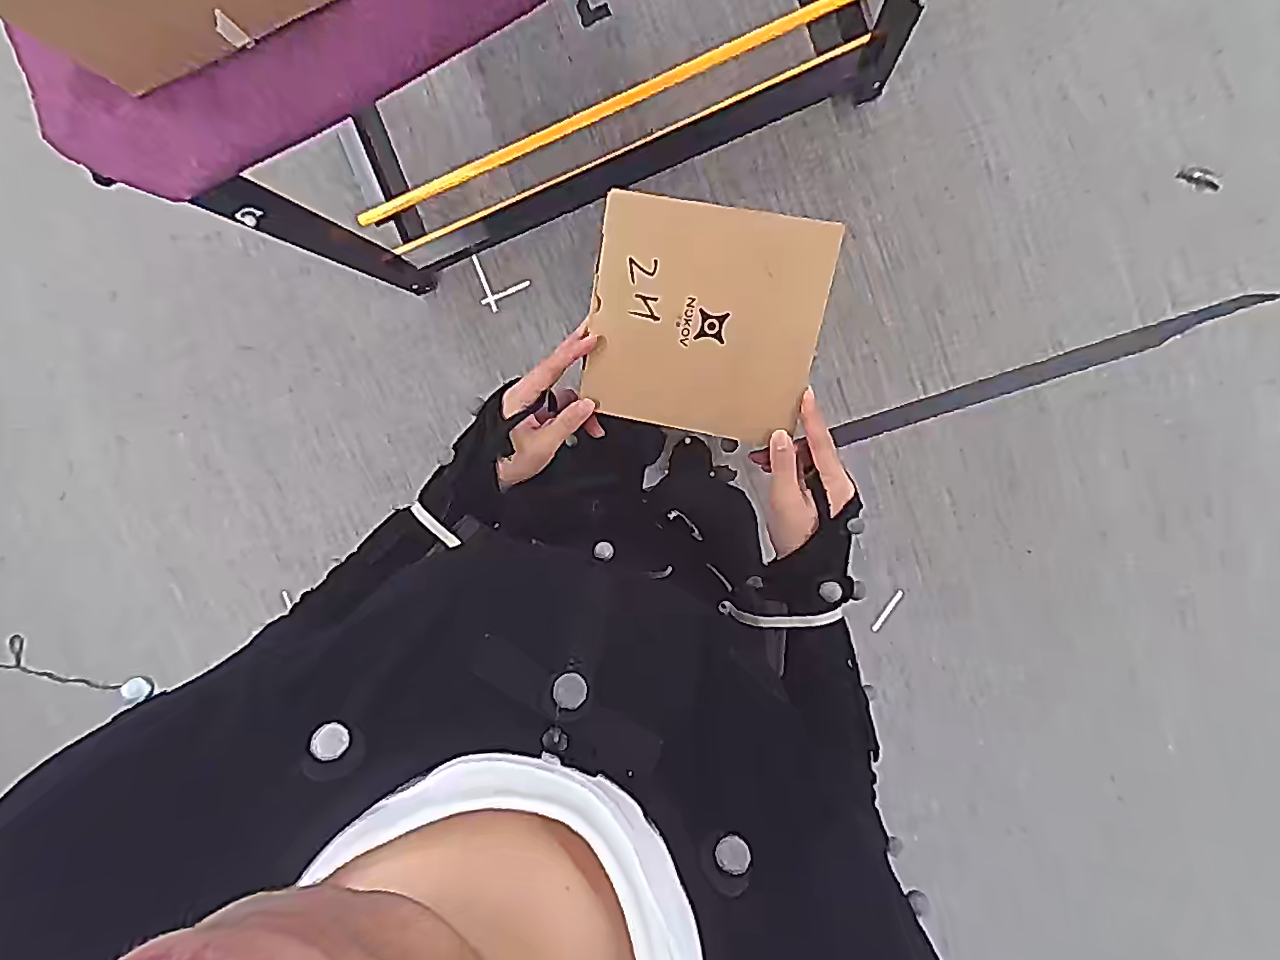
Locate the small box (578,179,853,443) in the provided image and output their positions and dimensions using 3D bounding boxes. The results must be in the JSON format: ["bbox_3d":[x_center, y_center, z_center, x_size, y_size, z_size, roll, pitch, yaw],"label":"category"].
[{"bbox_3d":[0.062,-0.140,0.477,0.179,0.176,0.168,12,104,7],"label":"small box"}]

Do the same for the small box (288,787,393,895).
[{"bbox_3d":[-0.814,0.987,1.489,0.168,0.176,0.179,-13,95,8],"label":"small box"}]
